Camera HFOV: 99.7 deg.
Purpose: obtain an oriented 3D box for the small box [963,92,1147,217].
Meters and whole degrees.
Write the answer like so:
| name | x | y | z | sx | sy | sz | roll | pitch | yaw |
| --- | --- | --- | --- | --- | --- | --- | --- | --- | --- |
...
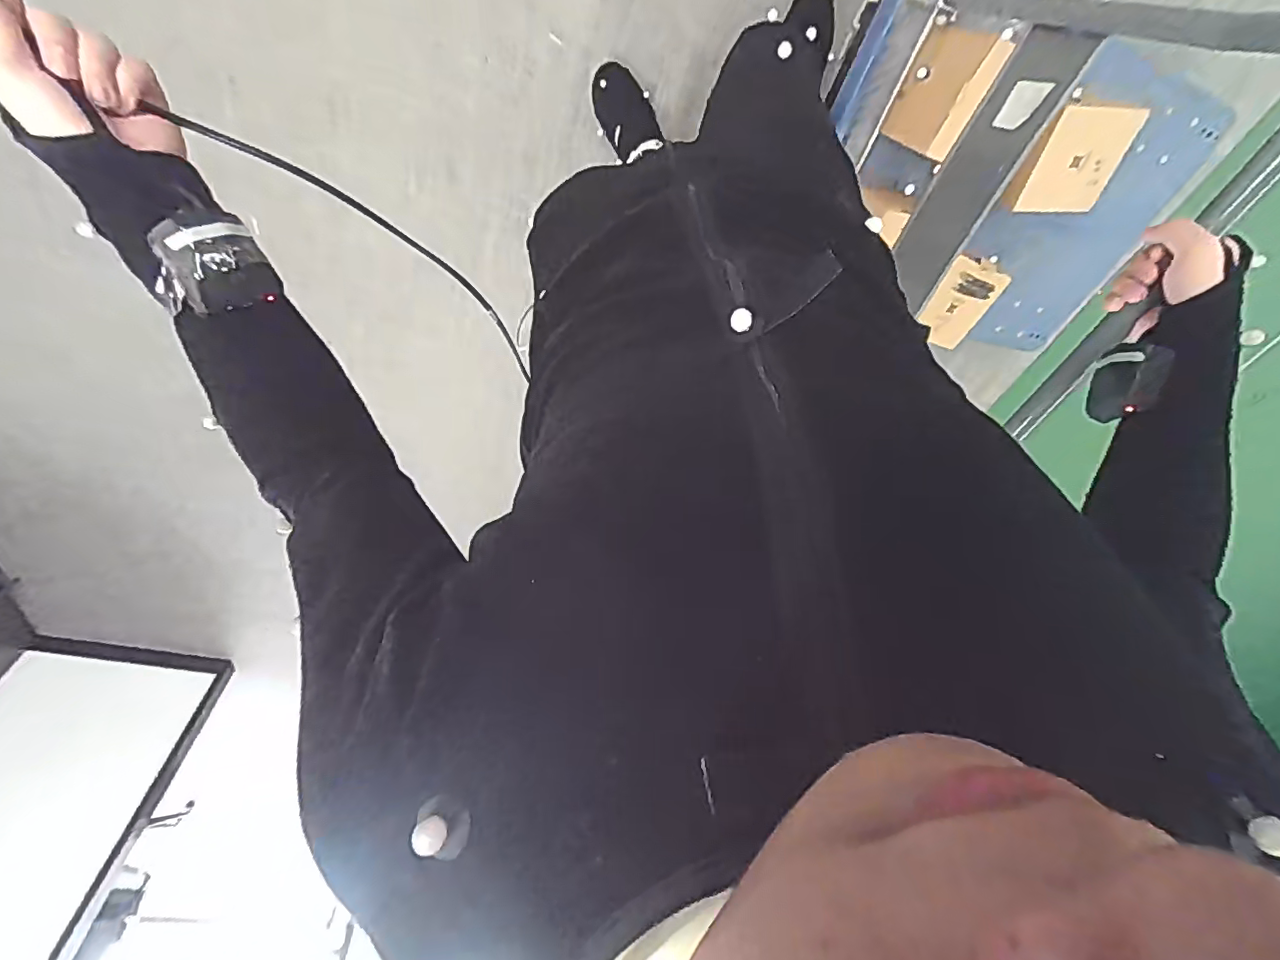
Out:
| name | x | y | z | sx | sy | sz | roll | pitch | yaw |
| --- | --- | --- | --- | --- | --- | --- | --- | --- | --- |
| small box | 0.753 | -0.607 | 1.007 | 0.179 | 0.176 | 0.168 | -4 | 135 | -11 |
